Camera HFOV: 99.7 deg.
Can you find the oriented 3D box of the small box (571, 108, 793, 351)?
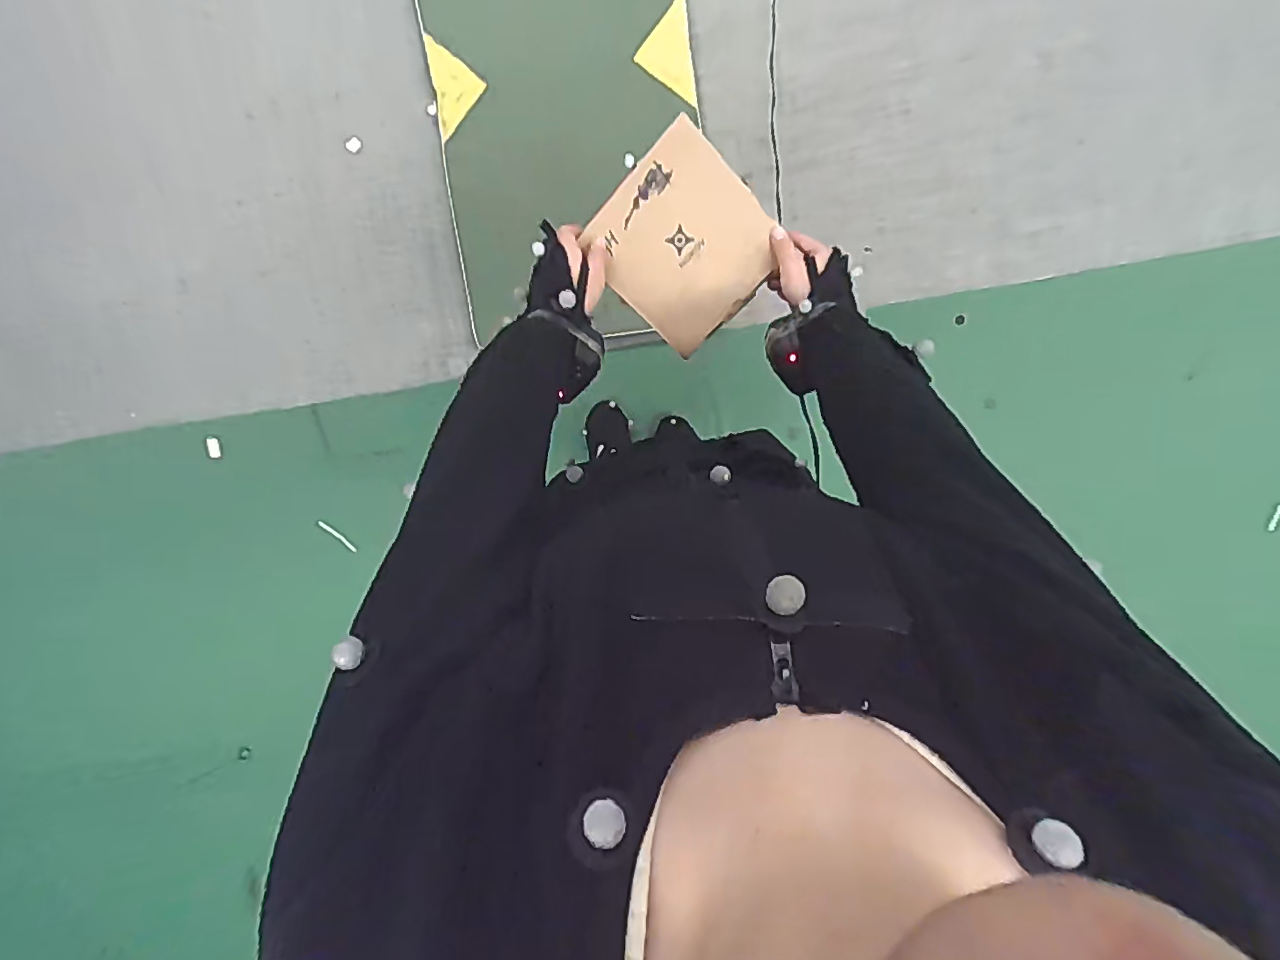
[{"bbox_3d":[0.043,-0.285,0.632,0.179,0.176,0.168,41,108,-19],"label":"small box"}]
